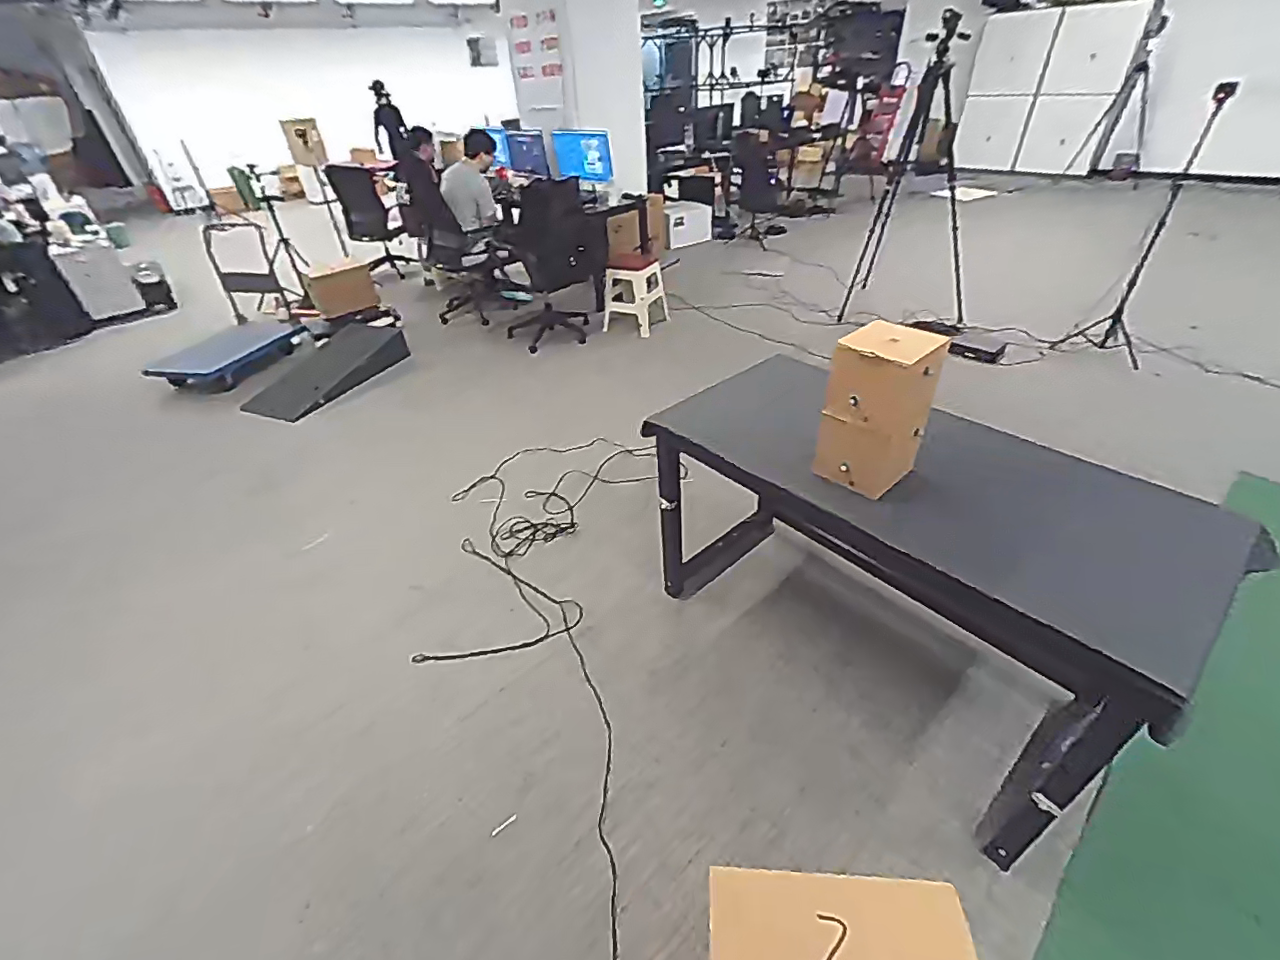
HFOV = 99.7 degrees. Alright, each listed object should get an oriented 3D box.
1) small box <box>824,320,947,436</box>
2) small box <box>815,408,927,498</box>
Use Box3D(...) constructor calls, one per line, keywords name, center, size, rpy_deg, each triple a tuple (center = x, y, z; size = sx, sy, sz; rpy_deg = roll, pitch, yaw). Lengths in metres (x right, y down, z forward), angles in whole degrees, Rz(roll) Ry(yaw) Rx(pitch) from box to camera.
Box3D(name="small box", center=(0.516, -0.220, 1.156), size=(0.179, 0.176, 0.168), rpy_deg=(-30, 44, -31))
Box3D(name="small box", center=(0.525, -0.089, 1.252), size=(0.179, 0.176, 0.168), rpy_deg=(-30, 43, -31))
